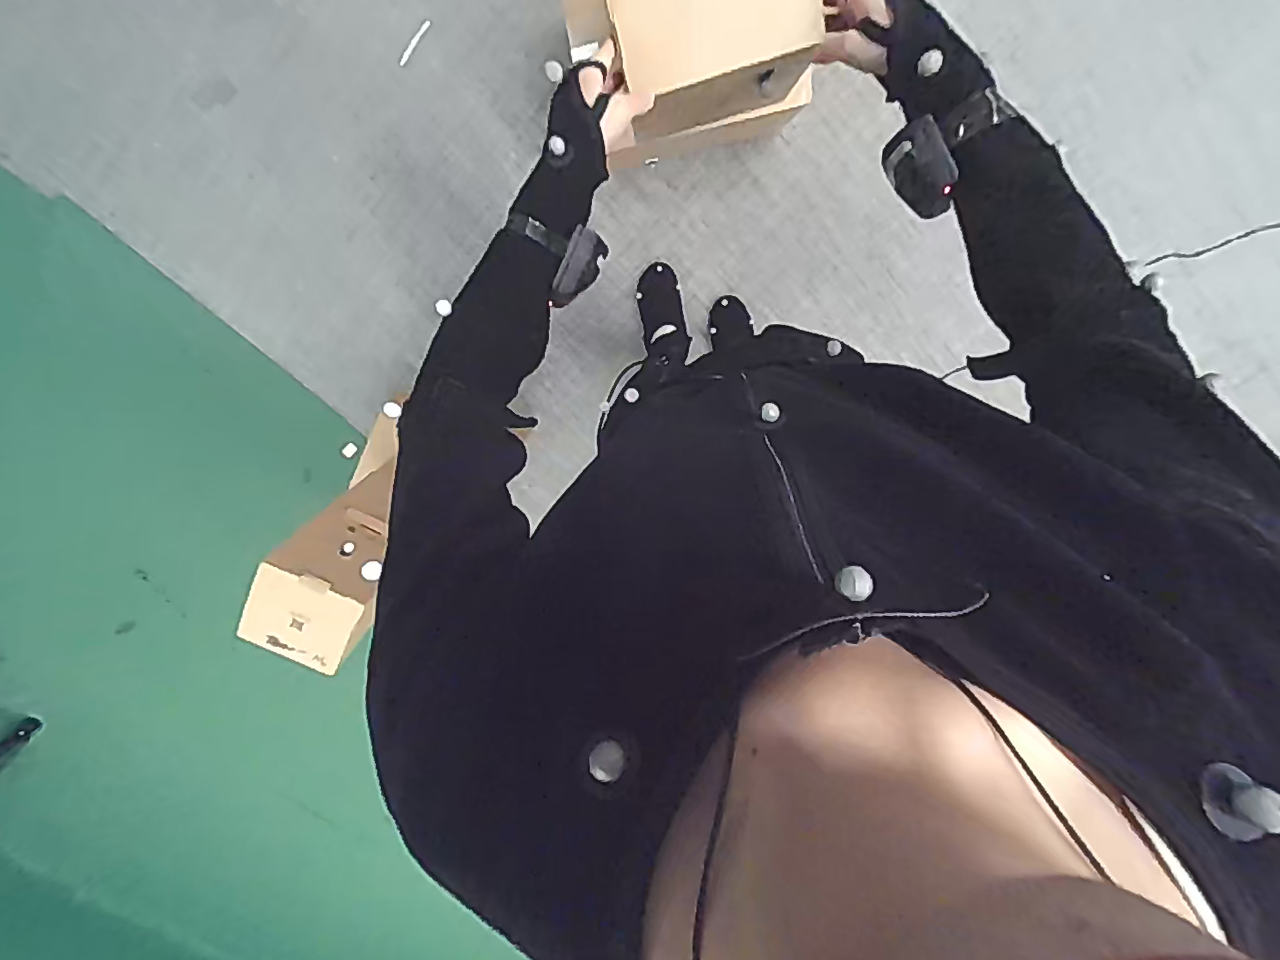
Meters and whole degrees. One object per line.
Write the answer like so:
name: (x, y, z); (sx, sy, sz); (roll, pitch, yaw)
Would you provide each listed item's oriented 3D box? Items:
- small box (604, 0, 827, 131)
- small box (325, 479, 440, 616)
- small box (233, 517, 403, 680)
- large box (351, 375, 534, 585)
small box: (0.056, -0.458, 0.507); (0.179, 0.176, 0.168); (-13, 109, 7)
small box: (-0.521, 0.125, 1.068); (0.168, 0.176, 0.179); (29, 113, -10)
small box: (-0.532, 0.192, 0.918); (0.168, 0.176, 0.179); (30, 111, -10)
large box: (-0.531, -0.010, 1.455); (0.320, 0.320, 0.408); (30, 114, -9)
